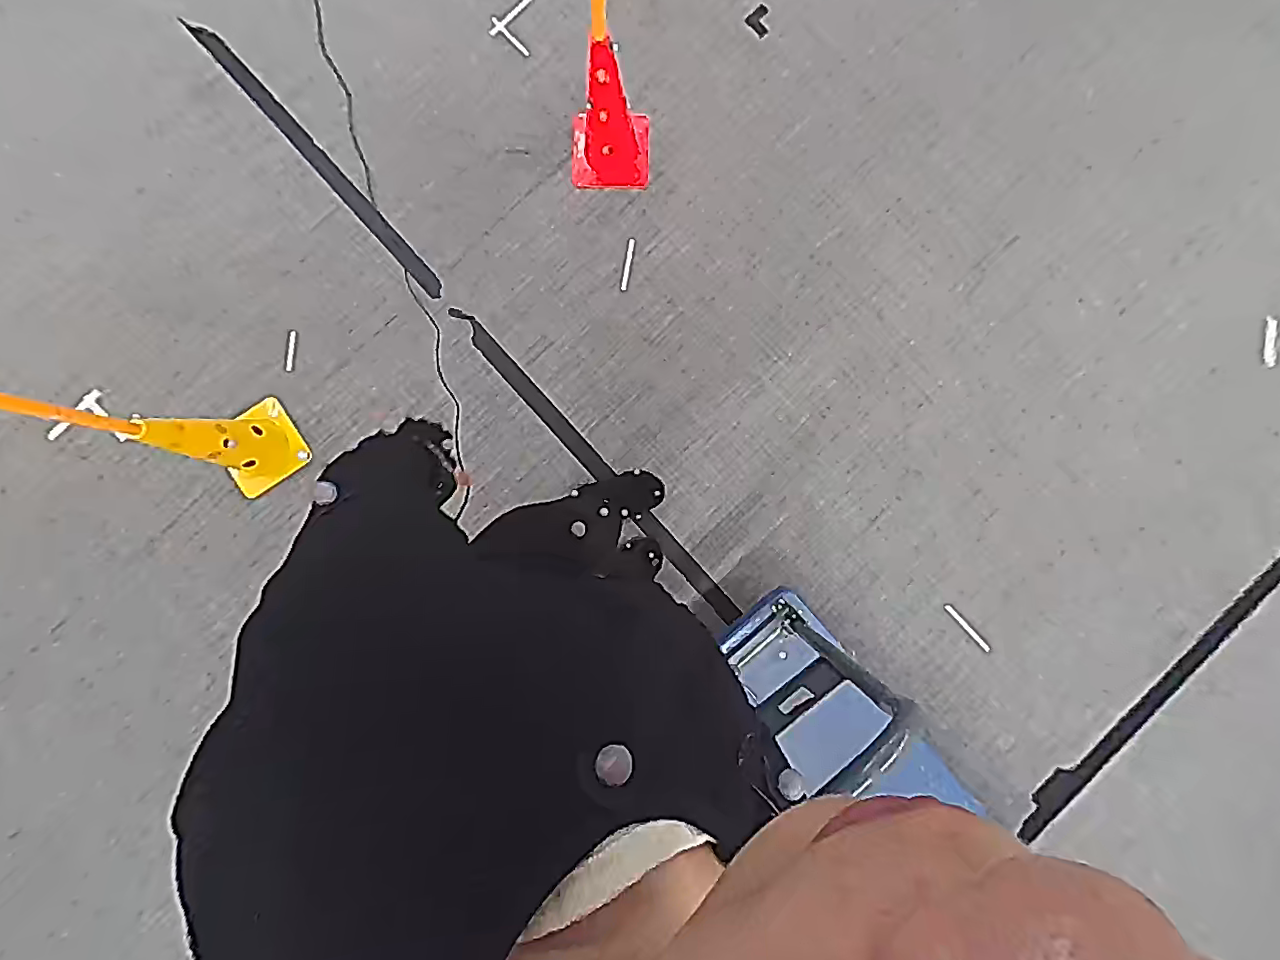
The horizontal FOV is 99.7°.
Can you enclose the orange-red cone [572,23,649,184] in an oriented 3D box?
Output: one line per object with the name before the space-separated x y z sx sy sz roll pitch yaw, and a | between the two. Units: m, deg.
orange-red cone | -0.080 -0.876 1.241 0.198 0.360 0.199 2 88 1
